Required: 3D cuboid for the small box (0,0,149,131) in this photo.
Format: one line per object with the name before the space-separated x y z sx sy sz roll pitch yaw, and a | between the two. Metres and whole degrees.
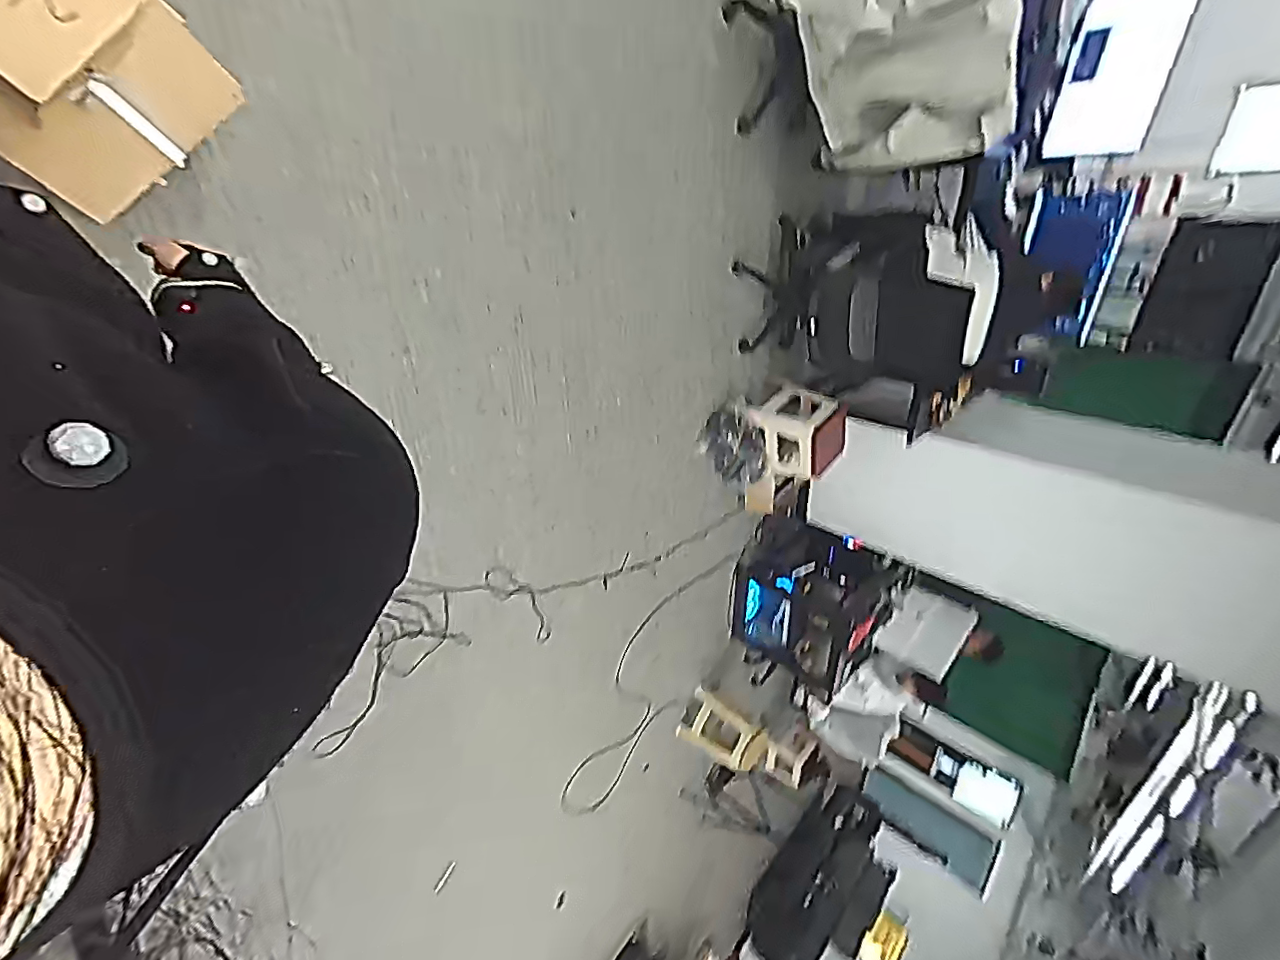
small box | -0.748 -0.550 0.640 0.168 0.176 0.179 -57 141 -10
